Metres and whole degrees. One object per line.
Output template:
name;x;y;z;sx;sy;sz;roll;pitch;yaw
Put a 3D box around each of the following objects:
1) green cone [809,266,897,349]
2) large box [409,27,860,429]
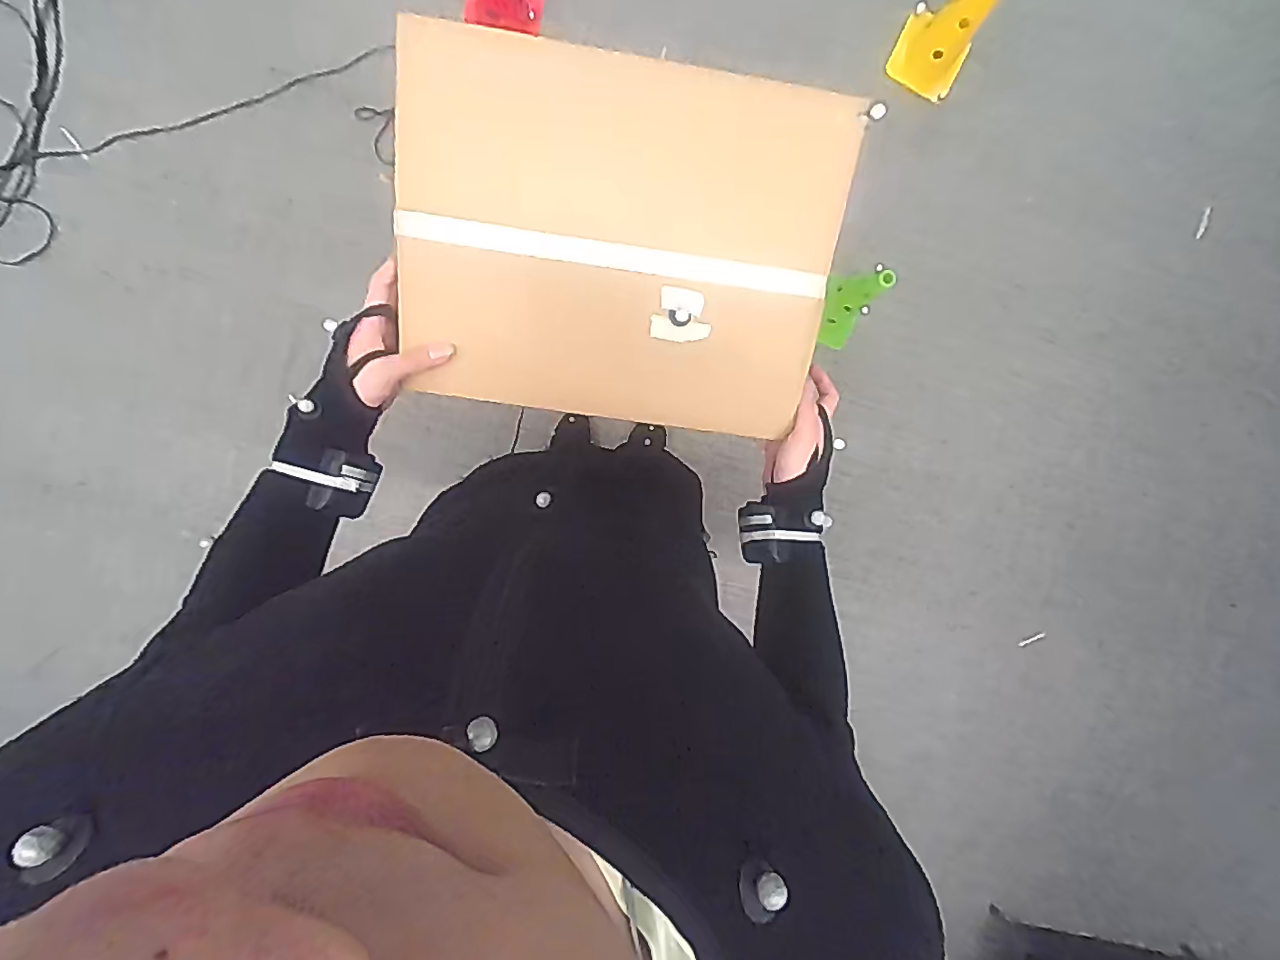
green cone;0.572;-0.497;1.449;0.200;0.368;0.202;22;94;-7
large box;-0.024;-0.266;0.655;0.408;0.320;0.320;7;110;-5
